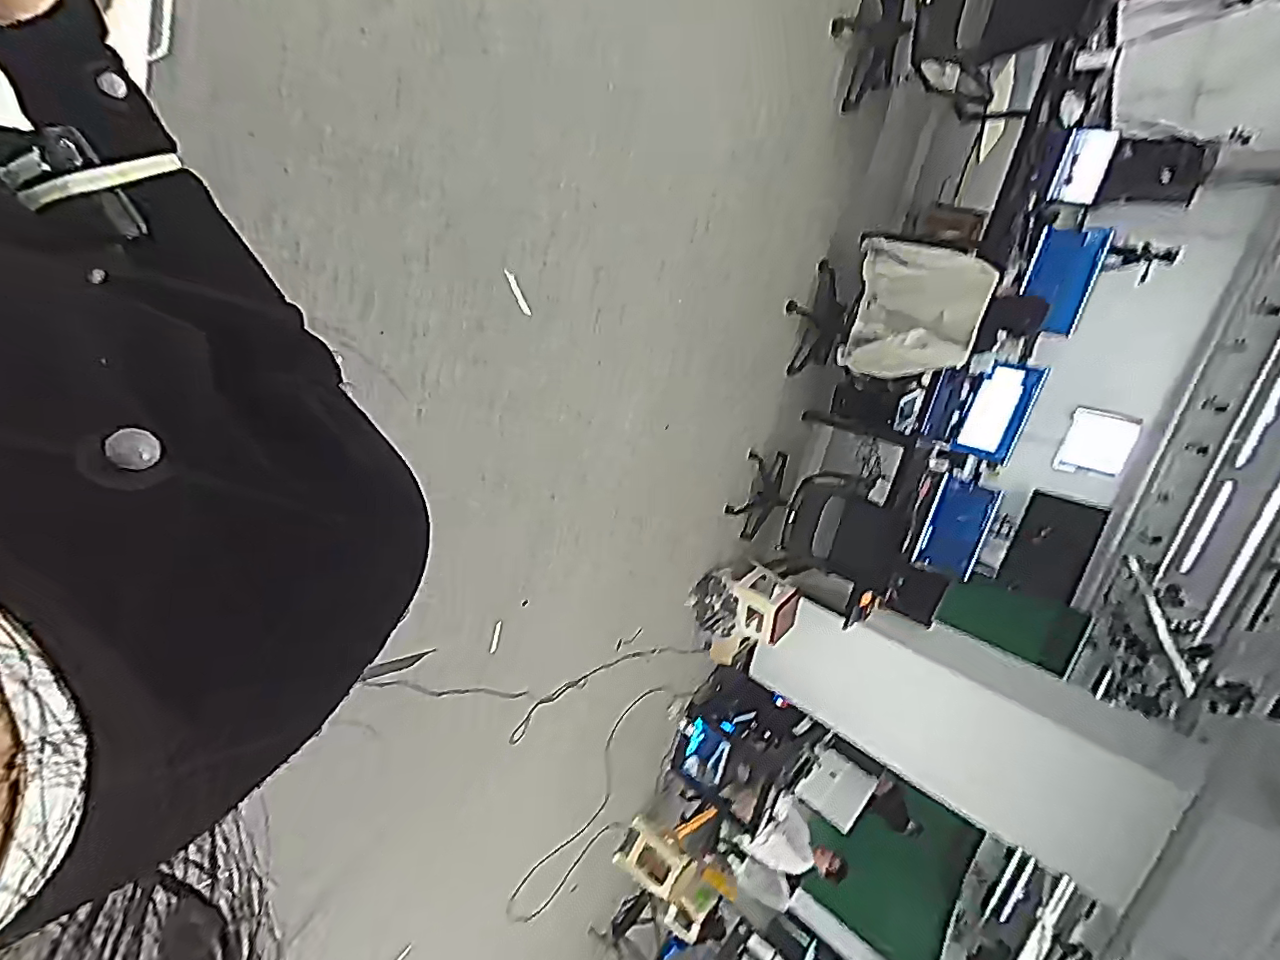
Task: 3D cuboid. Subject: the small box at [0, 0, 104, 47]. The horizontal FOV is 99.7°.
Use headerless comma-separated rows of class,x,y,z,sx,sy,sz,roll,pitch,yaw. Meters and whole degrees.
small box,-0.558,-0.503,0.444,0.168,0.176,0.179,1,109,-51
